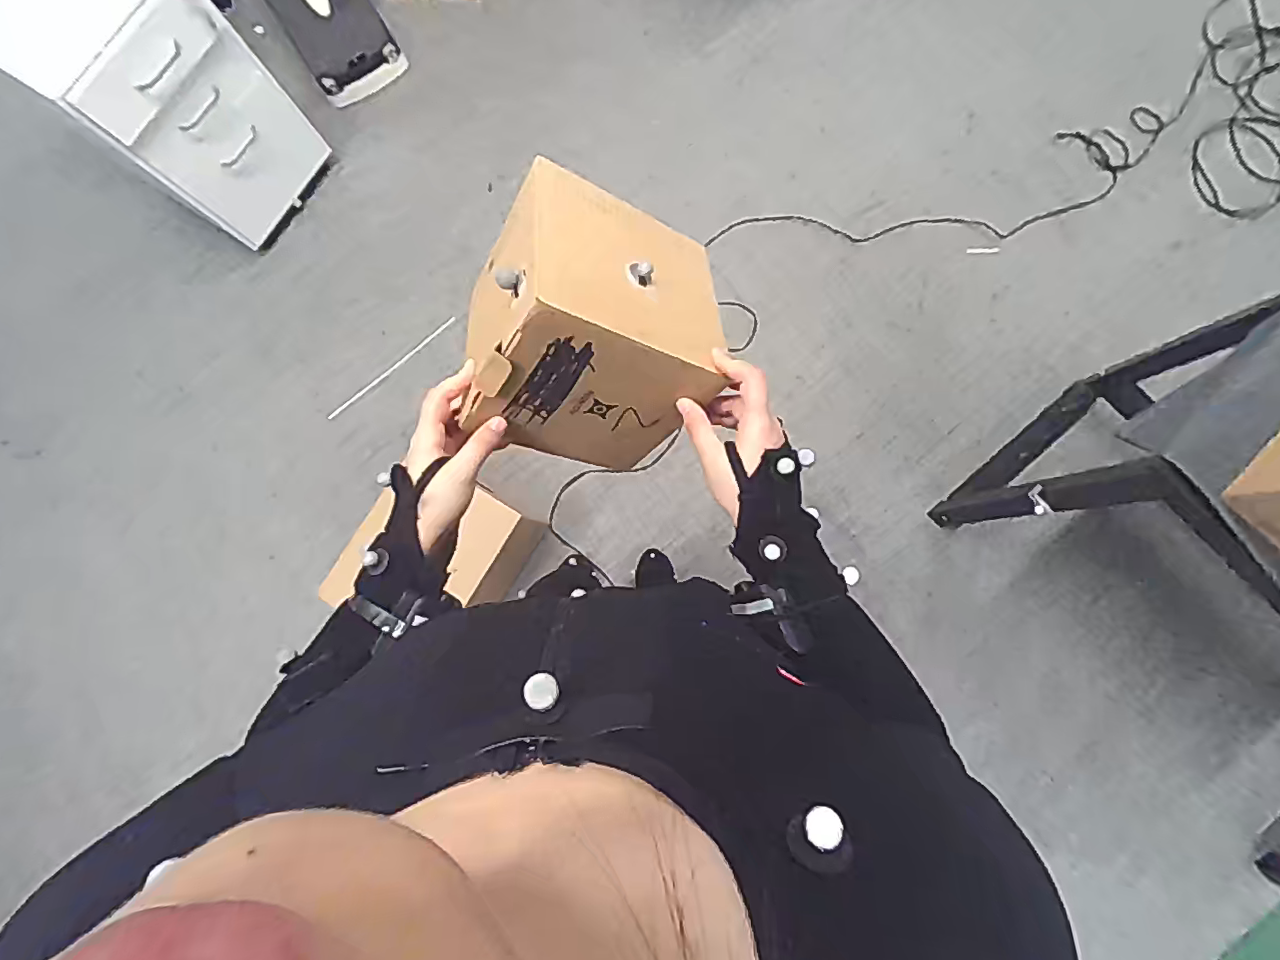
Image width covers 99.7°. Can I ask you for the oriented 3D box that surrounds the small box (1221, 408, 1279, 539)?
[{"bbox_3d":[0.909,-0.015,0.669,0.168,0.176,0.179,44,86,8],"label":"small box"}]
